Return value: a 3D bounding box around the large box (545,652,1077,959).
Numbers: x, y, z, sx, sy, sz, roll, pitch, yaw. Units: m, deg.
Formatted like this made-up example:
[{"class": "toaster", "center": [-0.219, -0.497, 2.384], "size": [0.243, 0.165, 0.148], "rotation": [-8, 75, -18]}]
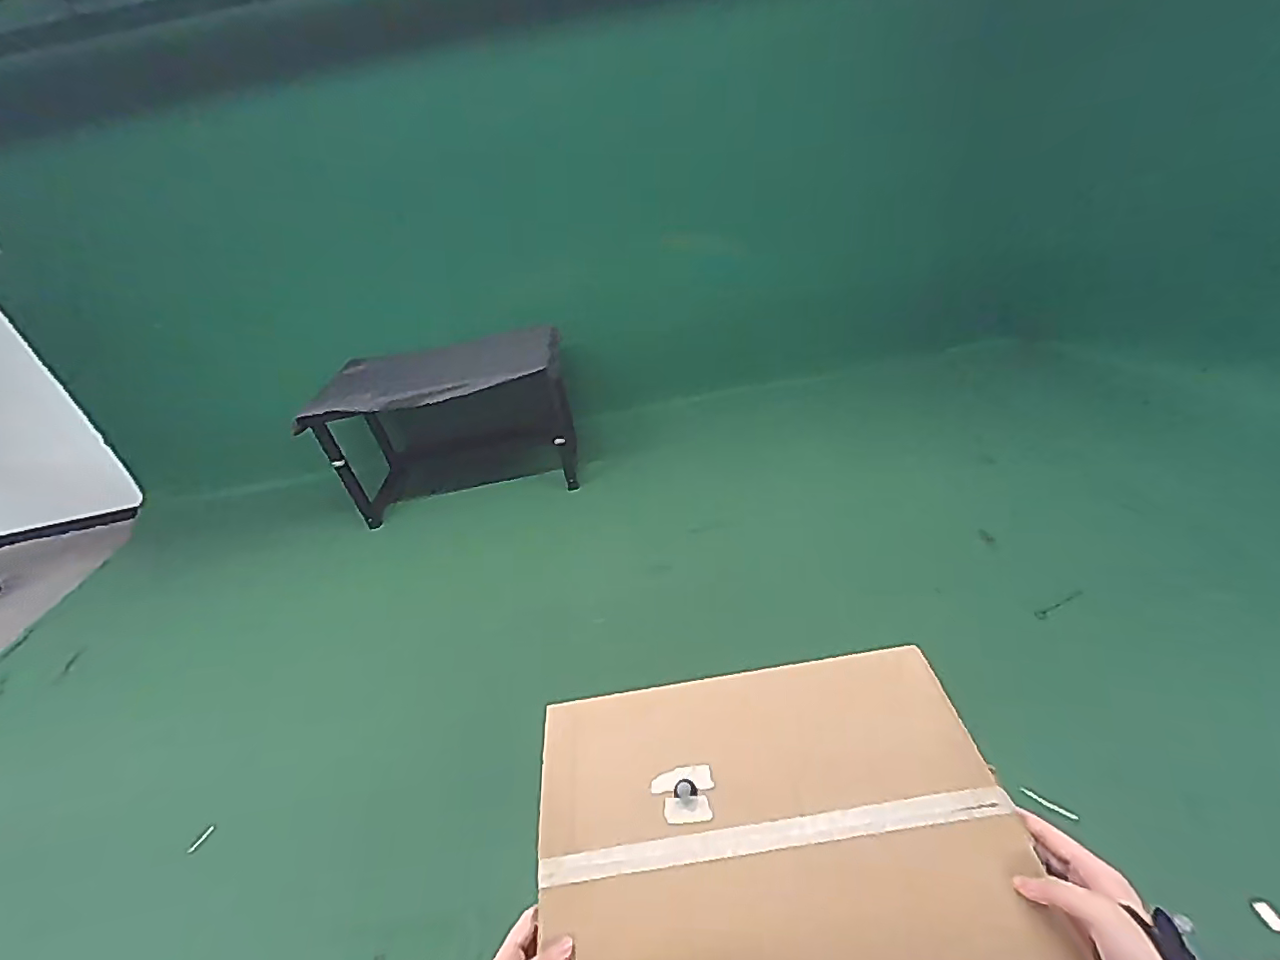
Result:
[{"class": "large box", "center": [0.140, 0.432, 0.569], "size": [0.408, 0.320, 0.320], "rotation": [-12, 39, 3]}]
